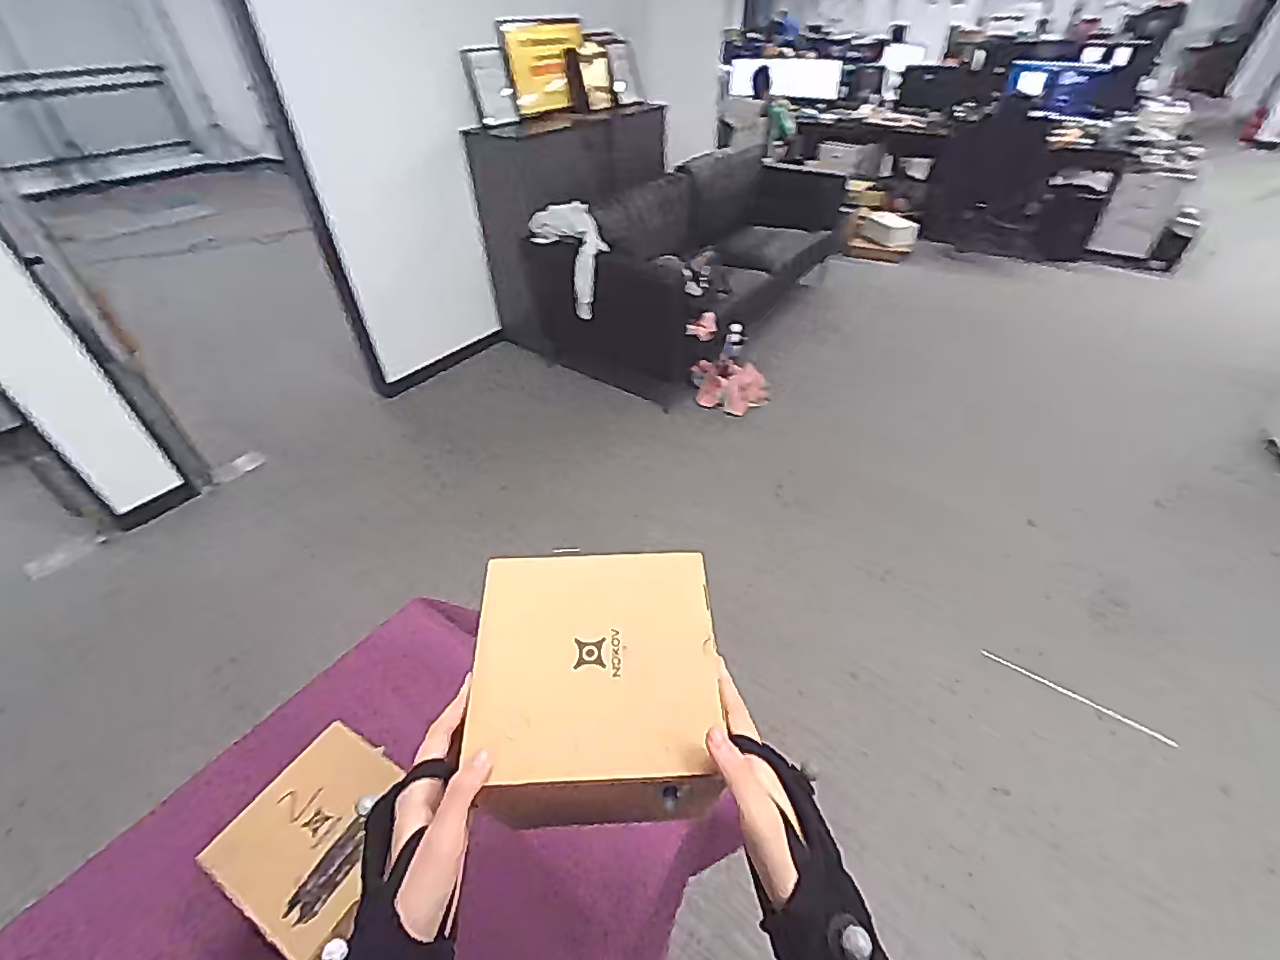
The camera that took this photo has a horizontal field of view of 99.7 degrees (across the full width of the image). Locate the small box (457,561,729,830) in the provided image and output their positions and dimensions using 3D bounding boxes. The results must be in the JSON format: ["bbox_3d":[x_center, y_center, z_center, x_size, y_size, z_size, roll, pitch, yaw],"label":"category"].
[{"bbox_3d":[-0.032,0.183,0.452,0.179,0.176,0.168,-1,50,-3],"label":"small box"}]
